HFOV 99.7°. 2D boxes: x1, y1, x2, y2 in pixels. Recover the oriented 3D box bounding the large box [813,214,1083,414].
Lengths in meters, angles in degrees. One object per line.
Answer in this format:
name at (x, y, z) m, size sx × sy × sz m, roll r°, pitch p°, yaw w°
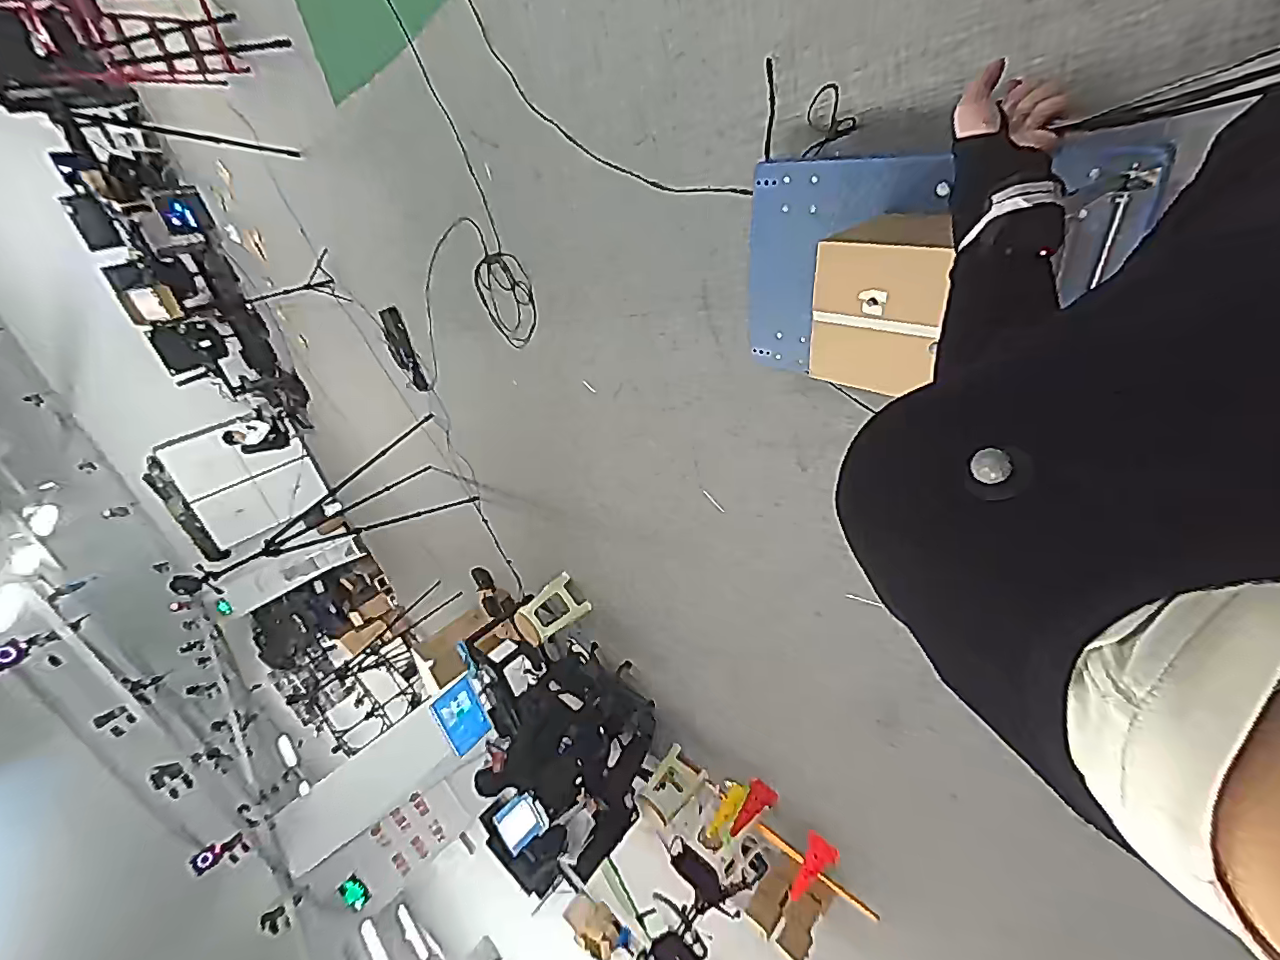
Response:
large box at (0.645, -0.382, 1.178) m, size 0.408 × 0.320 × 0.320 m, roll 25°, pitch 134°, yaw 39°
